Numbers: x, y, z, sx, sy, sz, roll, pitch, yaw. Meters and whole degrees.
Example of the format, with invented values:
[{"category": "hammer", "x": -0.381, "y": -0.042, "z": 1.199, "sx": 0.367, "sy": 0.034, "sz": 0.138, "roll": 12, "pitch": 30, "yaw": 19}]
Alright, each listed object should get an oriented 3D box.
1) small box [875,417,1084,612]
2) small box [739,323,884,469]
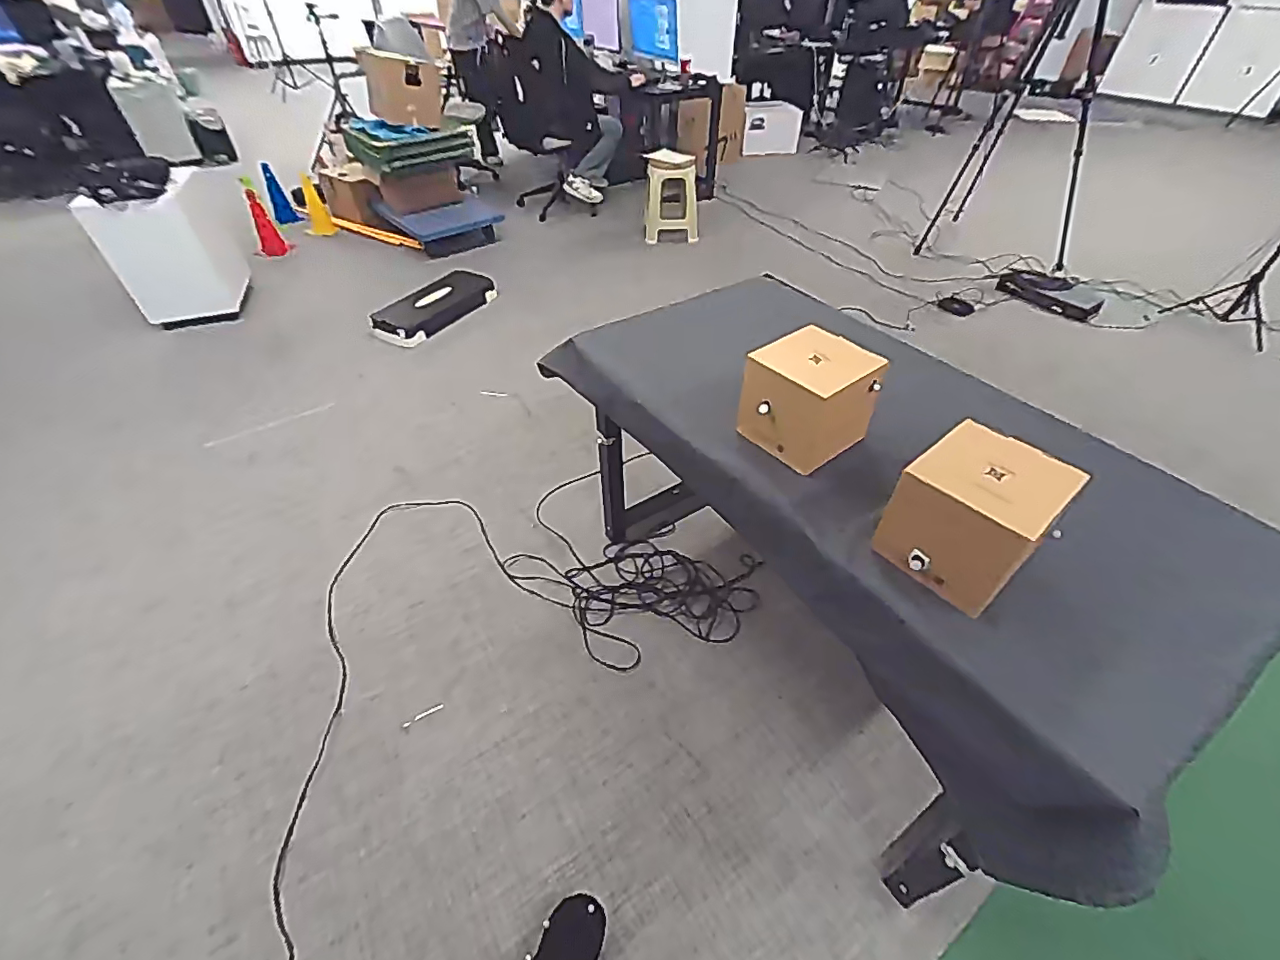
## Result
[{"category": "small box", "x": 0.462, "y": 0.046, "z": 0.760, "sx": 0.179, "sy": 0.176, "sz": 0.168, "roll": -32, "pitch": 51, "yaw": -28}, {"category": "small box", "x": 0.293, "y": -0.148, "z": 0.959, "sx": 0.179, "sy": 0.176, "sz": 0.168, "roll": -29, "pitch": 51, "yaw": -28}]
